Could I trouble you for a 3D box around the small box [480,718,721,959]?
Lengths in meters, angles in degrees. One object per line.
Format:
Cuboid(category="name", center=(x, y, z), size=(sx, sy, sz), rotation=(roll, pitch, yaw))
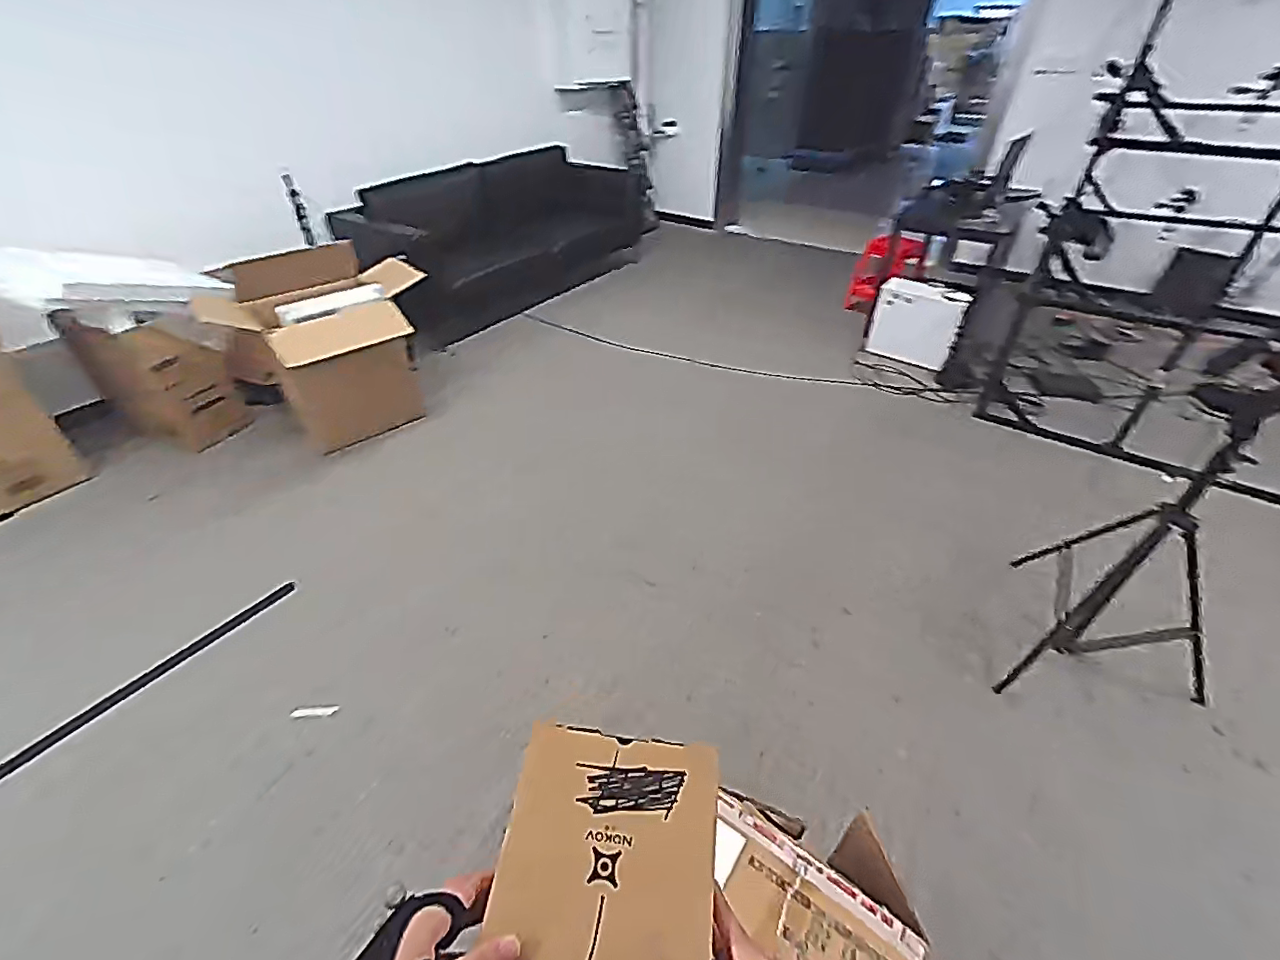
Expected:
Cuboid(category="small box", center=(-0.023, 0.338, 0.480), size=(0.168, 0.176, 0.179), rotation=(6, 48, 4))
